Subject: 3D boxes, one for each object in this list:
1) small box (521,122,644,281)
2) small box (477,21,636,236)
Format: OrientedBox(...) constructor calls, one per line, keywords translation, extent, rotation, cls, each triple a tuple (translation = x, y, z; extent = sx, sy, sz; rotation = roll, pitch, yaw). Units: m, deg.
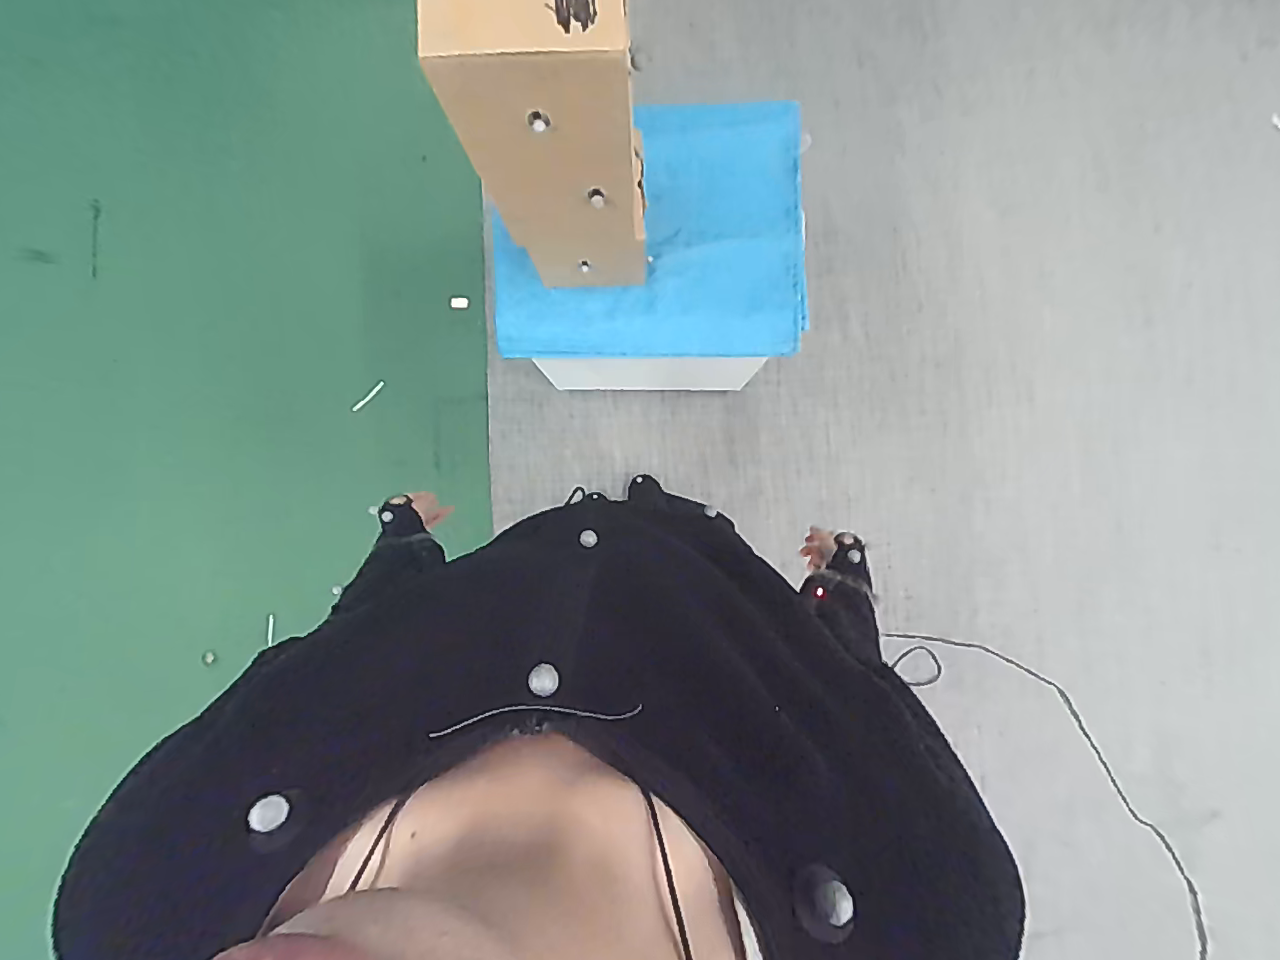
OrientedBox(translation=(-0.084, -0.424, 0.845), extent=(0.179, 0.176, 0.168), rotation=(-2, 88, 1), cls="small box")
OrientedBox(translation=(-0.095, -0.426, 0.680), extent=(0.179, 0.176, 0.168), rotation=(-1, 88, 0), cls="small box")
